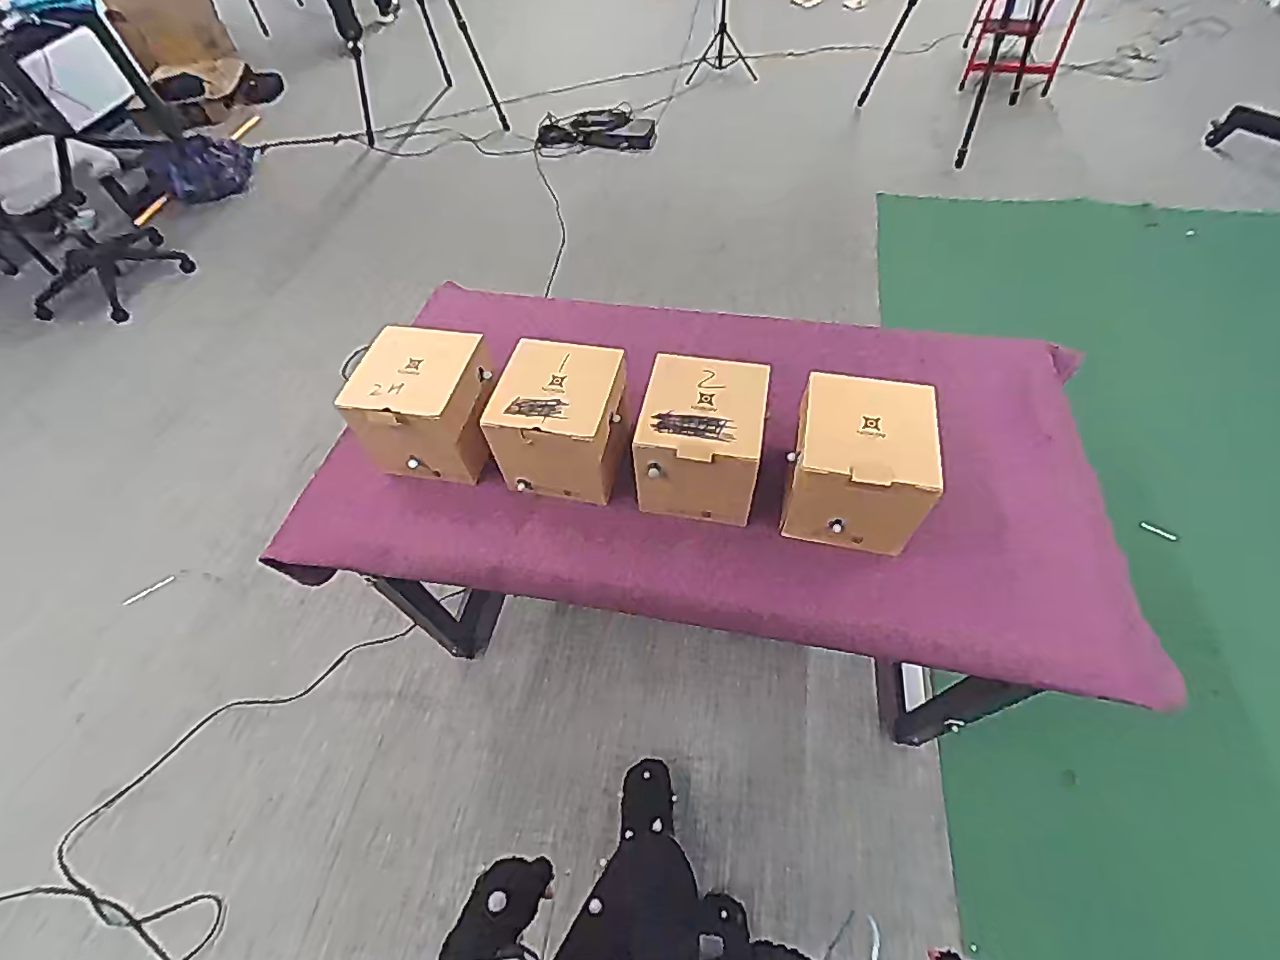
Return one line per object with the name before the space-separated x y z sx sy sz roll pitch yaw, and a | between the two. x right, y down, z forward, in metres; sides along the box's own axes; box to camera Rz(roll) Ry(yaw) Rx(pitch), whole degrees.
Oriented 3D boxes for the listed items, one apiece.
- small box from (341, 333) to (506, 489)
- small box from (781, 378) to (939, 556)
small box | -0.333 -0.110 0.876 0.168 0.176 0.179 7 56 9
small box | 0.301 -0.017 0.769 0.168 0.176 0.179 9 56 10
